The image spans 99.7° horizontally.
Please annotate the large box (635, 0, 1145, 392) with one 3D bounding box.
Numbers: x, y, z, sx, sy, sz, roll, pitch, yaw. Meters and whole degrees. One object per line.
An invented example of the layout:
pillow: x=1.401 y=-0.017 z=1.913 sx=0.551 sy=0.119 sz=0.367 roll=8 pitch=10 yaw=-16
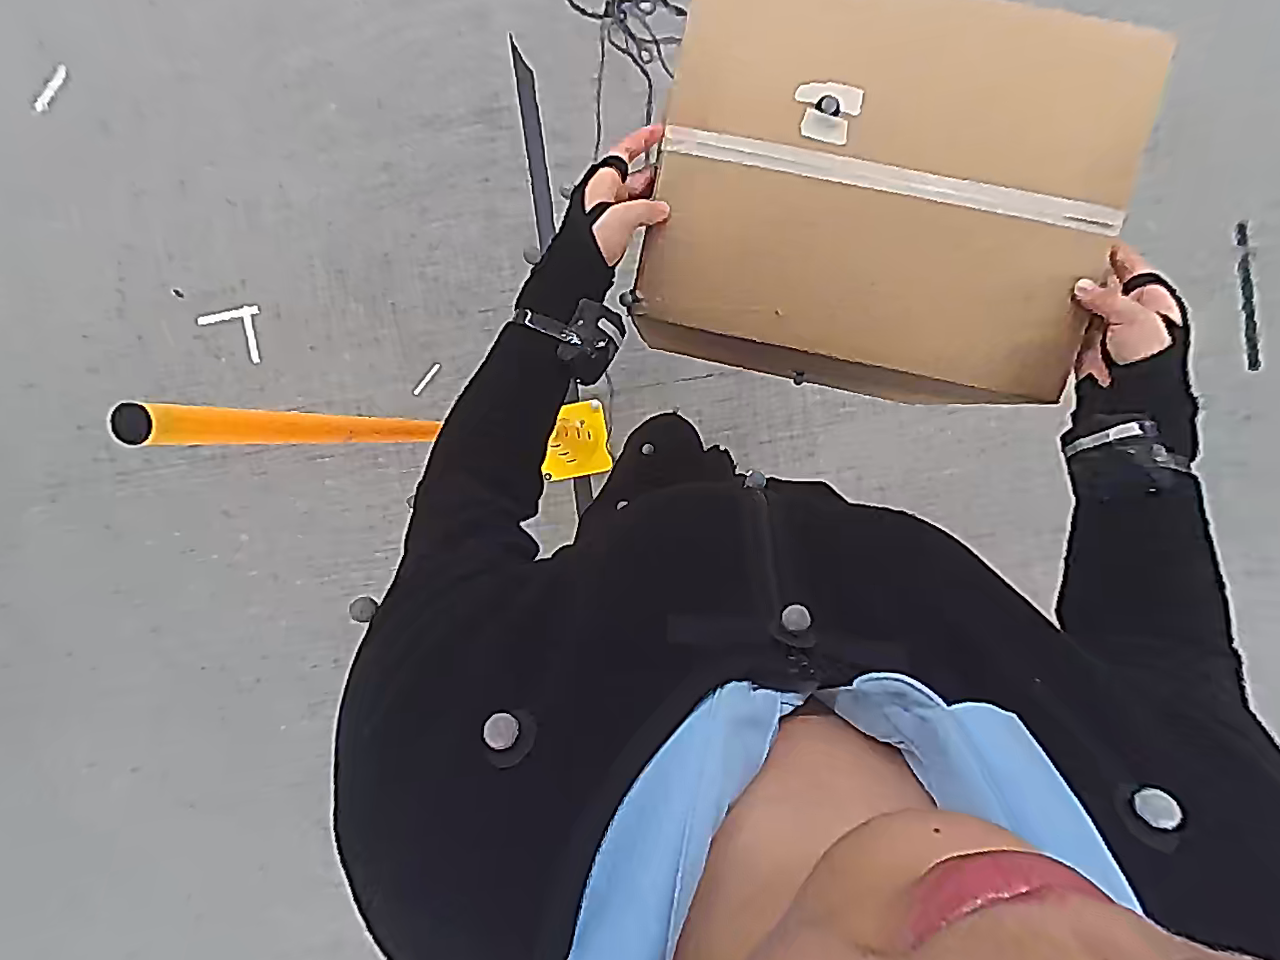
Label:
large box: x=0.227 y=-0.289 z=0.641 sx=0.408 sy=0.320 sz=0.320 roll=11 pitch=97 yaw=3
